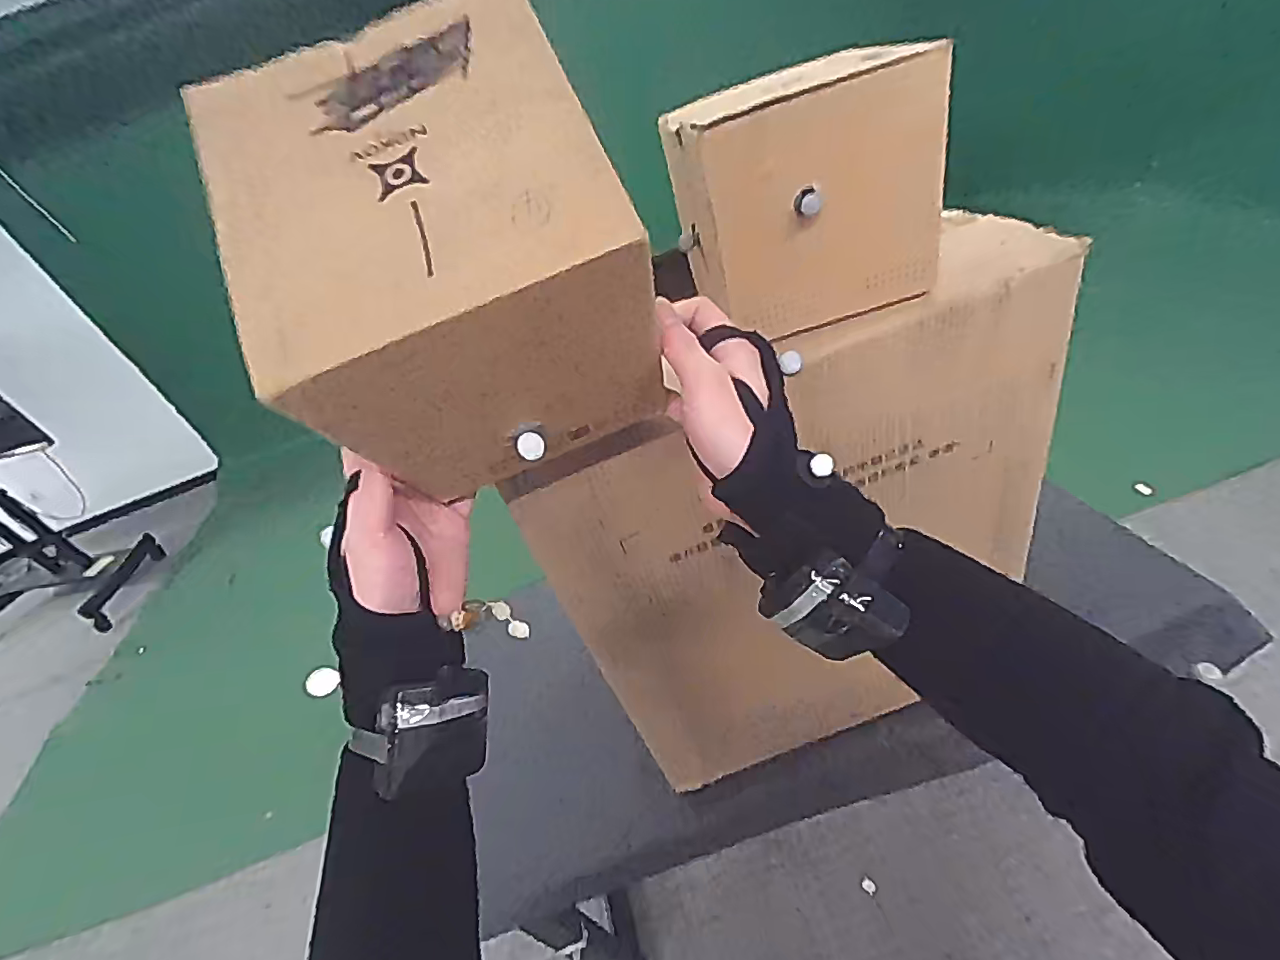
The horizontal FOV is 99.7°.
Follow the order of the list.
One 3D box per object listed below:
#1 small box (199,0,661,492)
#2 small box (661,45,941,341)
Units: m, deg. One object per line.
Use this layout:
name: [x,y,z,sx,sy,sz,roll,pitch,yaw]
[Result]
small box: [-0.095,-0.114,0.312,0.168,0.176,0.179,-23,76,0]
small box: [0.133,-0.243,0.472,0.179,0.176,0.168,-17,38,4]
